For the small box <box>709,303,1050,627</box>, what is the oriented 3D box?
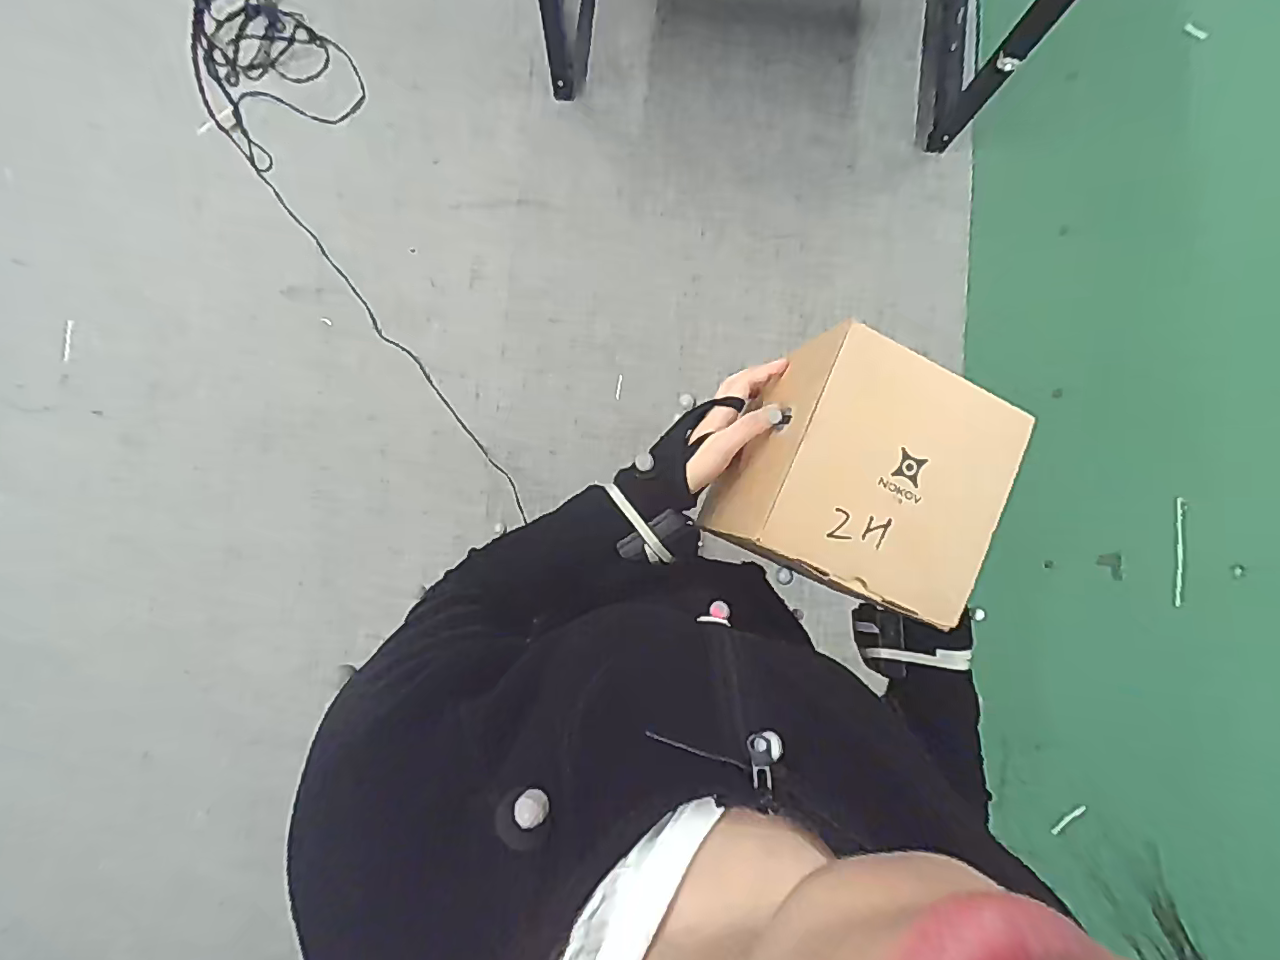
[{"bbox_3d":[0.175,-0.008,0.448,0.168,0.176,0.179,25,85,-8],"label":"small box"}]
